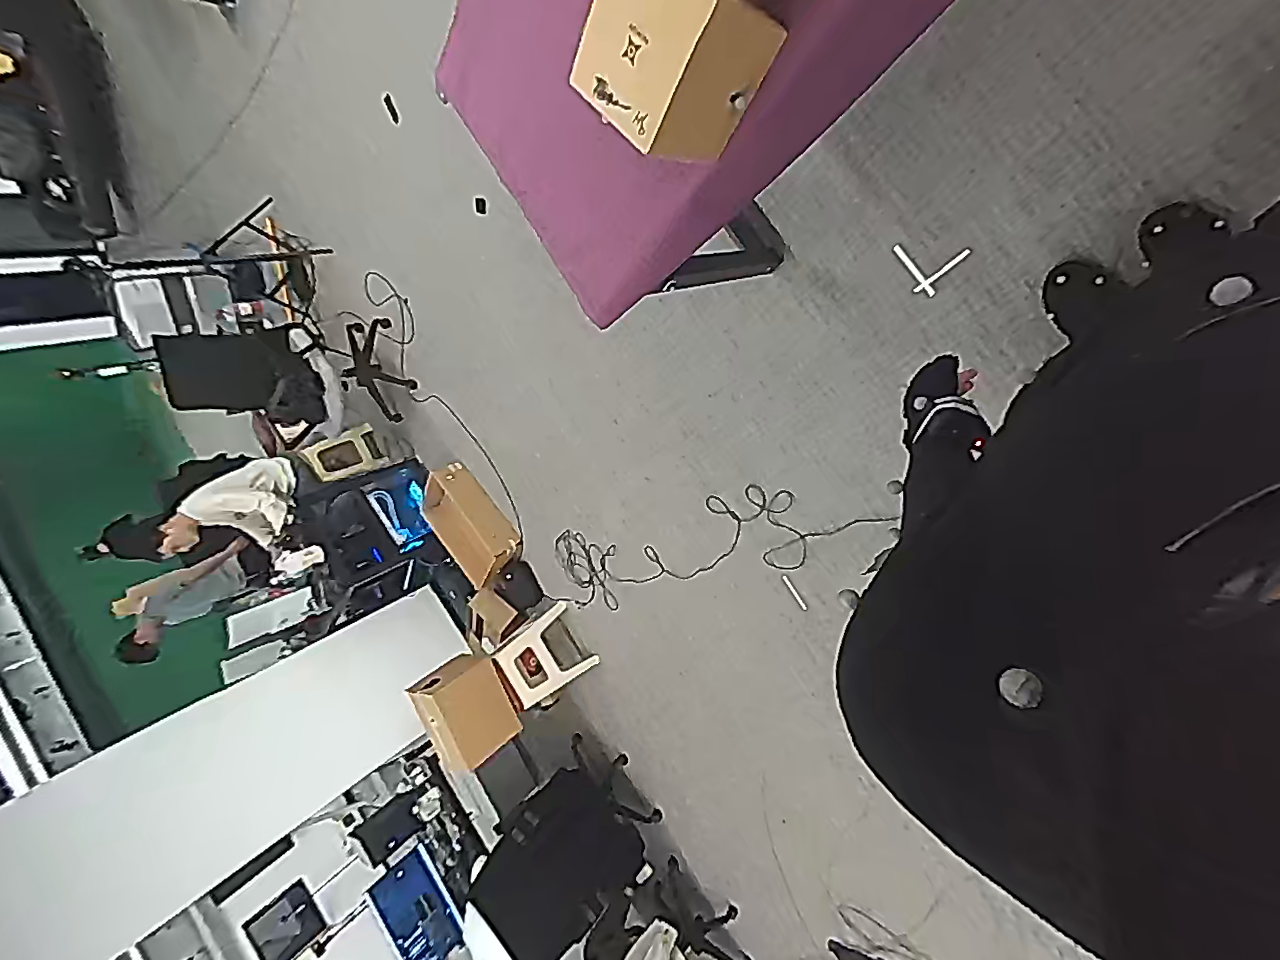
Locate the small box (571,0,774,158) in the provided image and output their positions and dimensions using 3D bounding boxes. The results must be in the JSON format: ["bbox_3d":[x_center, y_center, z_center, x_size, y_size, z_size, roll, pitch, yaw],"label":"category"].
[{"bbox_3d":[0.048,-0.553,0.699,0.168,0.176,0.179,50,134,13],"label":"small box"}]
